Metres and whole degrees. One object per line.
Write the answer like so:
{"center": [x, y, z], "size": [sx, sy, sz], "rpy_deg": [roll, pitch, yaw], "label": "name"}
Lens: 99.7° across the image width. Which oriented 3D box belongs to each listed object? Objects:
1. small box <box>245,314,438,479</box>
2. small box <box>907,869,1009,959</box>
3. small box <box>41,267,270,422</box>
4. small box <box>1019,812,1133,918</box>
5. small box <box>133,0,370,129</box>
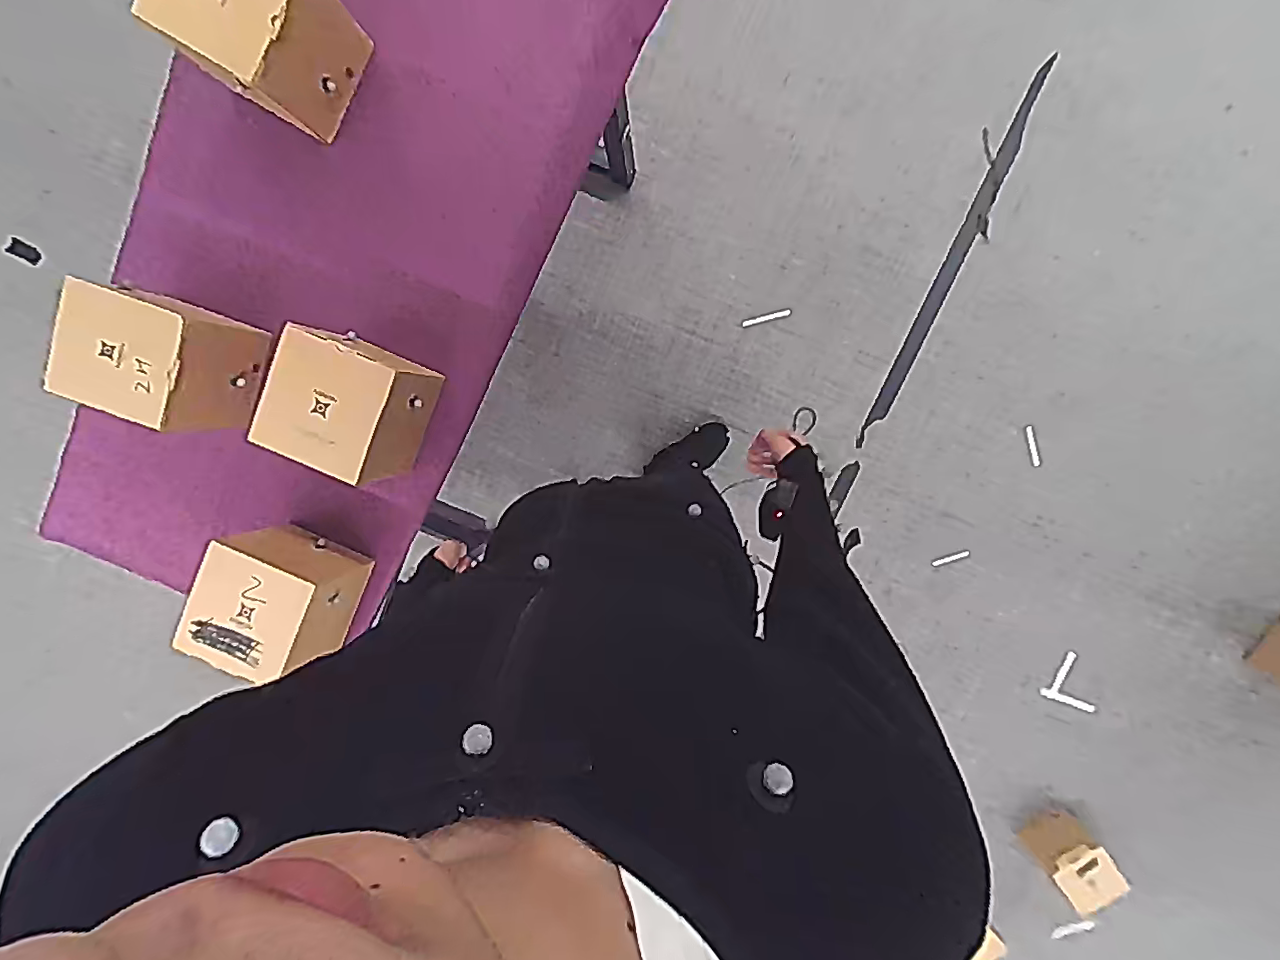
{"center": [-0.429, -0.120, 0.809], "size": [0.168, 0.176, 0.179], "rpy_deg": [24, 97, 0], "label": "small box"}
{"center": [0.970, 1.360, 1.664], "size": [0.168, 0.176, 0.179], "rpy_deg": [-43, 94, 7], "label": "small box"}
{"center": [-0.714, -0.192, 0.815], "size": [0.179, 0.176, 0.168], "rpy_deg": [20, 98, 0], "label": "small box"}
{"center": [1.296, 1.139, 1.621], "size": [0.168, 0.176, 0.179], "rpy_deg": [-36, 94, 6], "label": "small box"}
{"center": [-0.523, -0.636, 0.752], "size": [0.179, 0.176, 0.168], "rpy_deg": [29, 98, -3], "label": "small box"}
